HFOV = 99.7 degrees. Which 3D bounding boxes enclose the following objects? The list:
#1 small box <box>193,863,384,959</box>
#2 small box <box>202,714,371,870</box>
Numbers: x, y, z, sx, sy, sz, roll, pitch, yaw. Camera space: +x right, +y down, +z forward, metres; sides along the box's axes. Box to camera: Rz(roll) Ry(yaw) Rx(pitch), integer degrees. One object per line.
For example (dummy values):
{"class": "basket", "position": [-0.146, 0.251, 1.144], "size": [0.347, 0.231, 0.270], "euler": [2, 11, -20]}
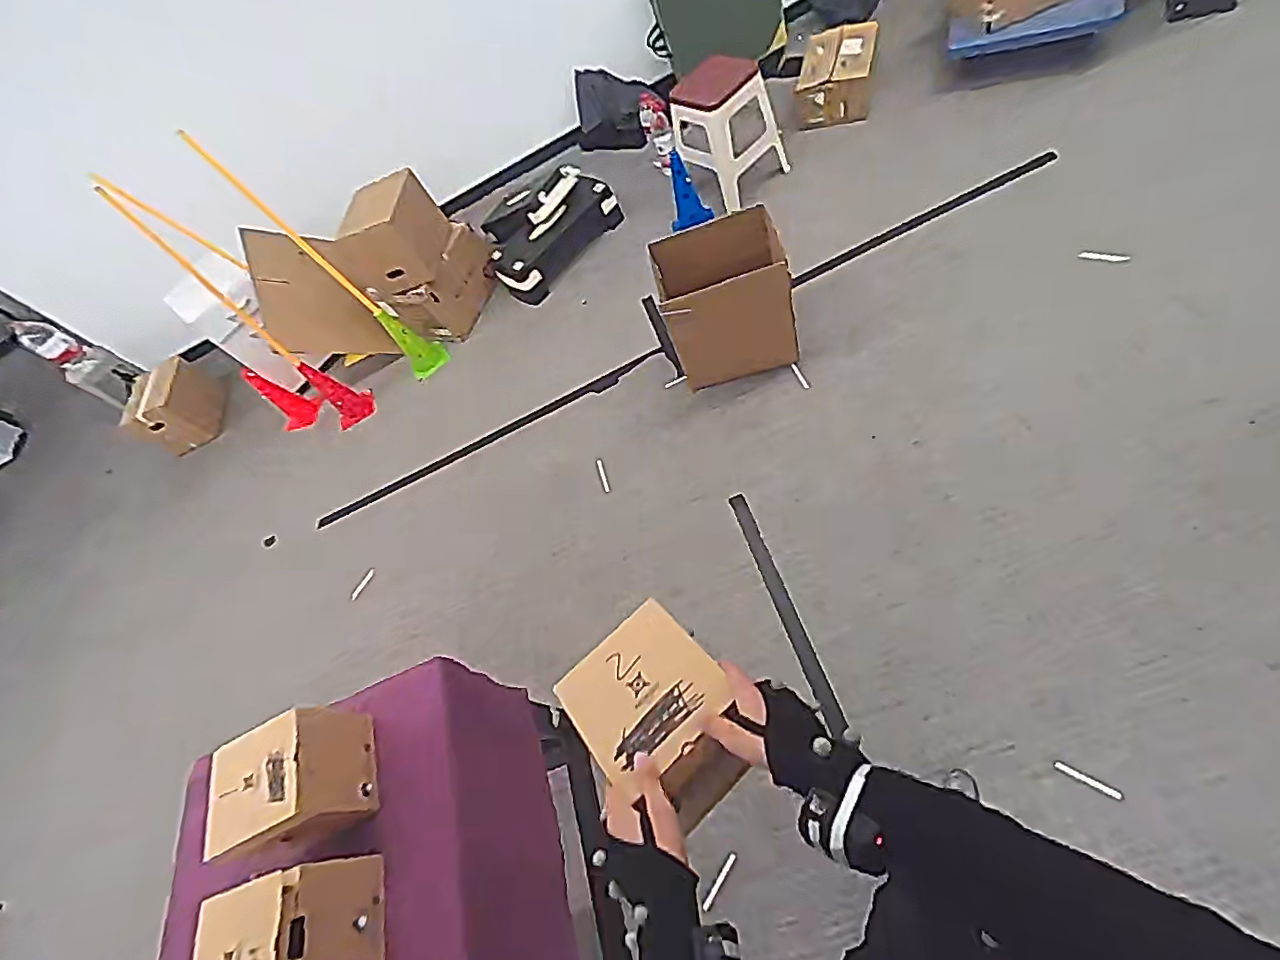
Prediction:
{"class": "small box", "position": [-0.503, 0.680, 0.781], "size": [0.179, 0.176, 0.168], "euler": [-24, 56, 8]}
{"class": "small box", "position": [-0.577, 0.514, 0.906], "size": [0.179, 0.176, 0.168], "euler": [-30, 55, 6]}
